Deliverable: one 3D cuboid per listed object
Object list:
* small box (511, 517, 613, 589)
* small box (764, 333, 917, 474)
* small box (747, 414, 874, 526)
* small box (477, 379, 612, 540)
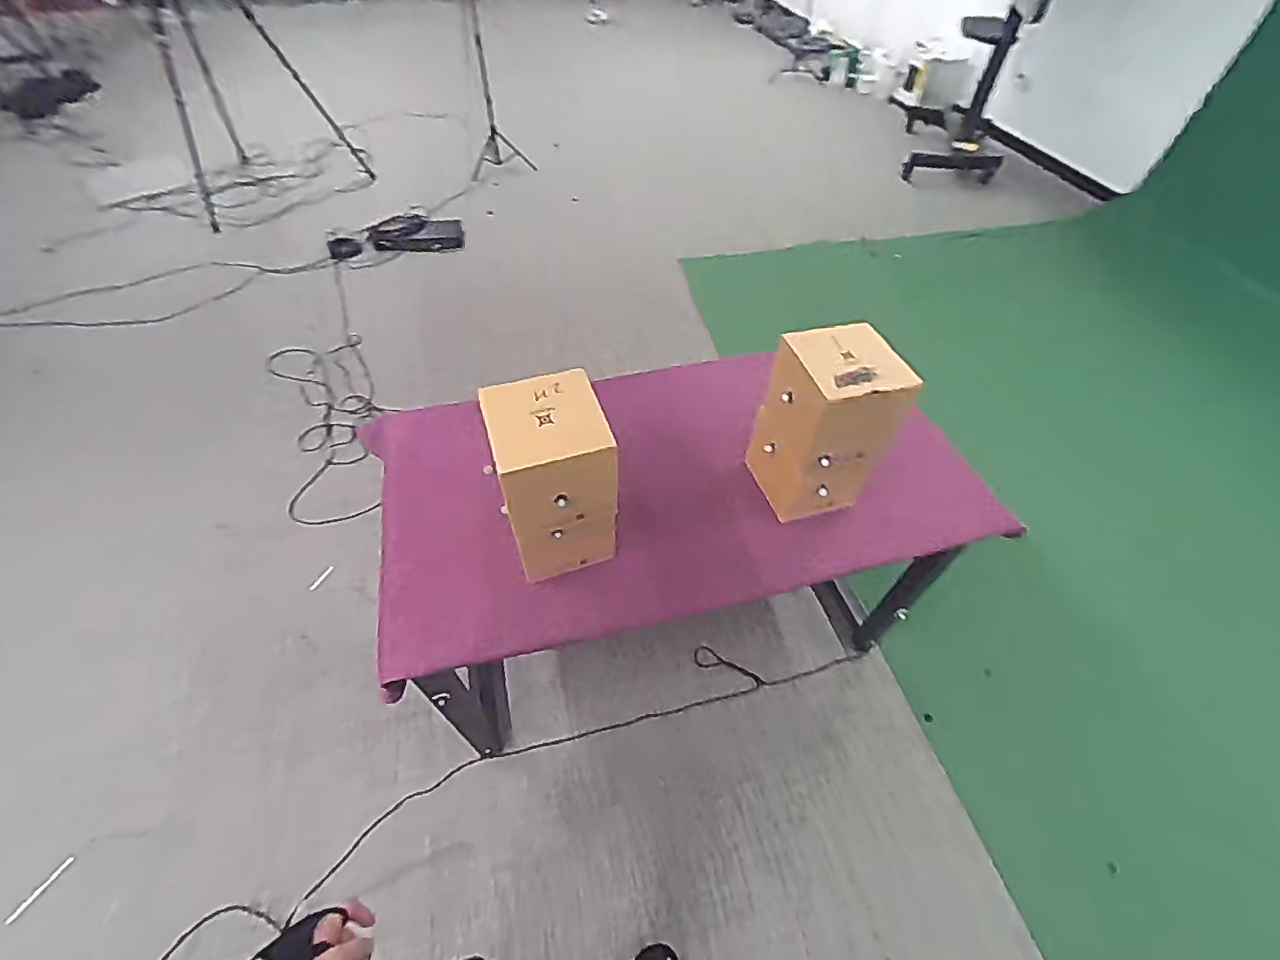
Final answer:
[{"bbox_3d":[-0.152,0.067,0.977,0.168,0.176,0.179,-16,52,-13],"label":"small box"},{"bbox_3d":[0.332,-0.126,0.935,0.168,0.176,0.179,-10,49,-9],"label":"small box"},{"bbox_3d":[0.328,-0.026,1.067,0.168,0.176,0.179,-13,51,-11],"label":"small box"},{"bbox_3d":[-0.142,-0.025,0.839,0.168,0.176,0.179,-14,52,-14],"label":"small box"}]
